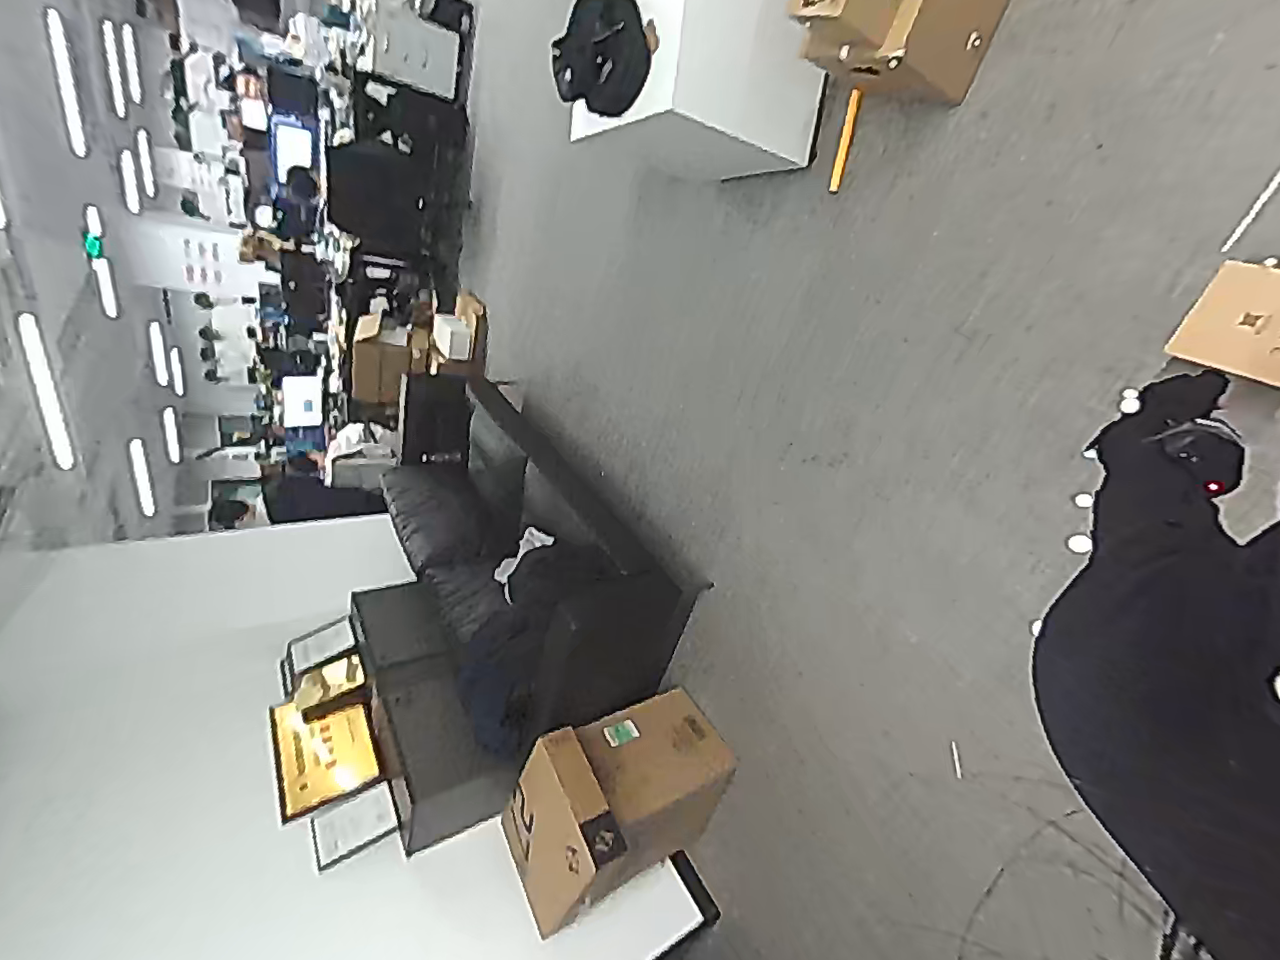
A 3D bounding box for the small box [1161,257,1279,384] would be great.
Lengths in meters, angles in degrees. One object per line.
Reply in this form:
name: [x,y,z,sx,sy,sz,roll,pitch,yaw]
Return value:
small box: [1.080,-0.271,0.940,0.179,0.176,0.168,43,128,42]
